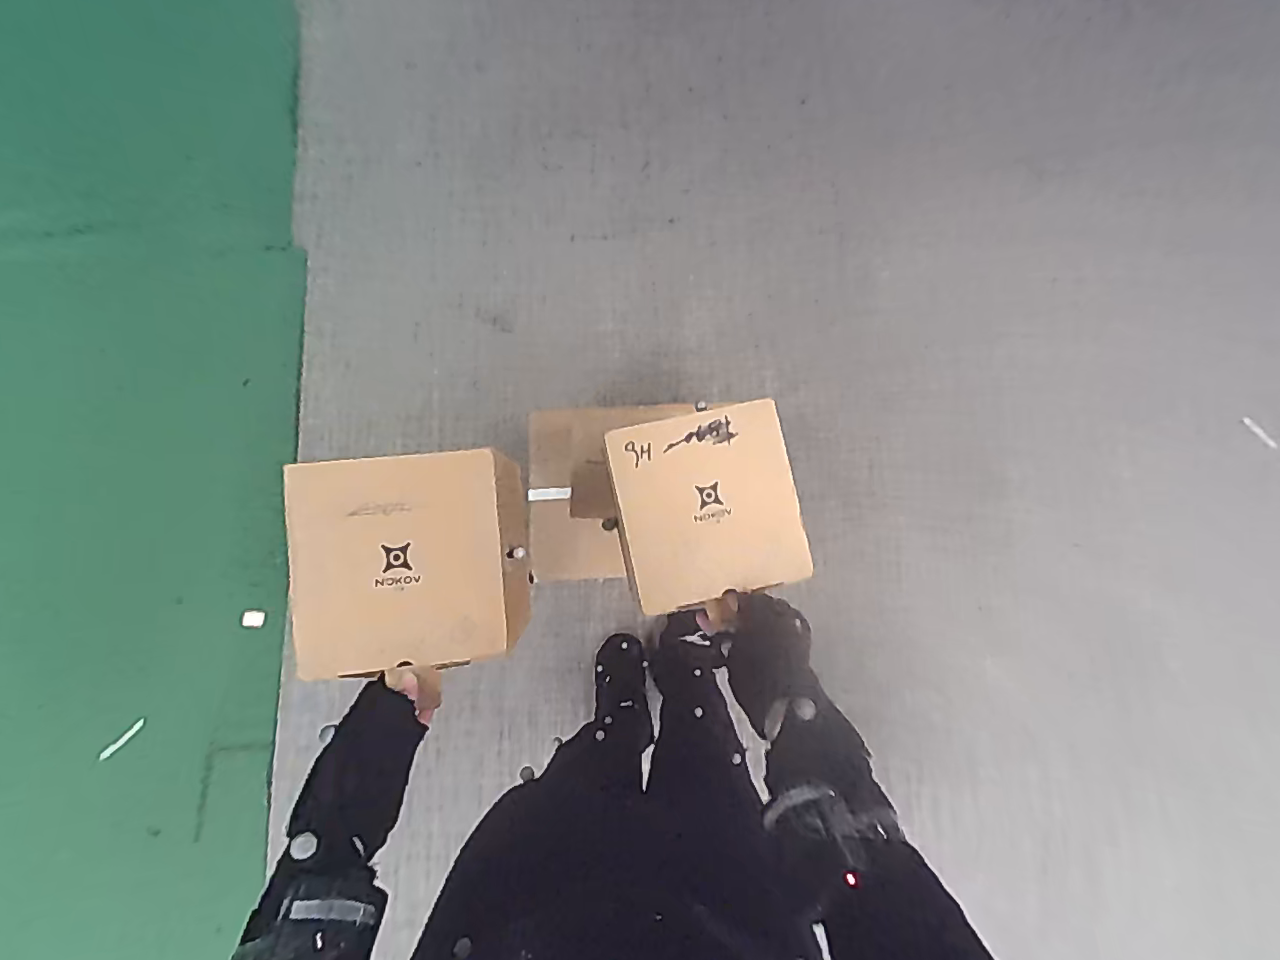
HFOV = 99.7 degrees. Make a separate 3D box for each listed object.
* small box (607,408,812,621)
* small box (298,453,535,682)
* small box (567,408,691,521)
[{"bbox_3d":[0.061,0.033,0.582,0.168,0.176,0.179,-12,88,-6],"label":"small box"},{"bbox_3d":[-0.197,0.074,0.520,0.168,0.176,0.179,-5,86,-6],"label":"small box"},{"bbox_3d":[-0.017,-0.016,0.885,0.179,0.176,0.168,4,86,0],"label":"small box"}]
